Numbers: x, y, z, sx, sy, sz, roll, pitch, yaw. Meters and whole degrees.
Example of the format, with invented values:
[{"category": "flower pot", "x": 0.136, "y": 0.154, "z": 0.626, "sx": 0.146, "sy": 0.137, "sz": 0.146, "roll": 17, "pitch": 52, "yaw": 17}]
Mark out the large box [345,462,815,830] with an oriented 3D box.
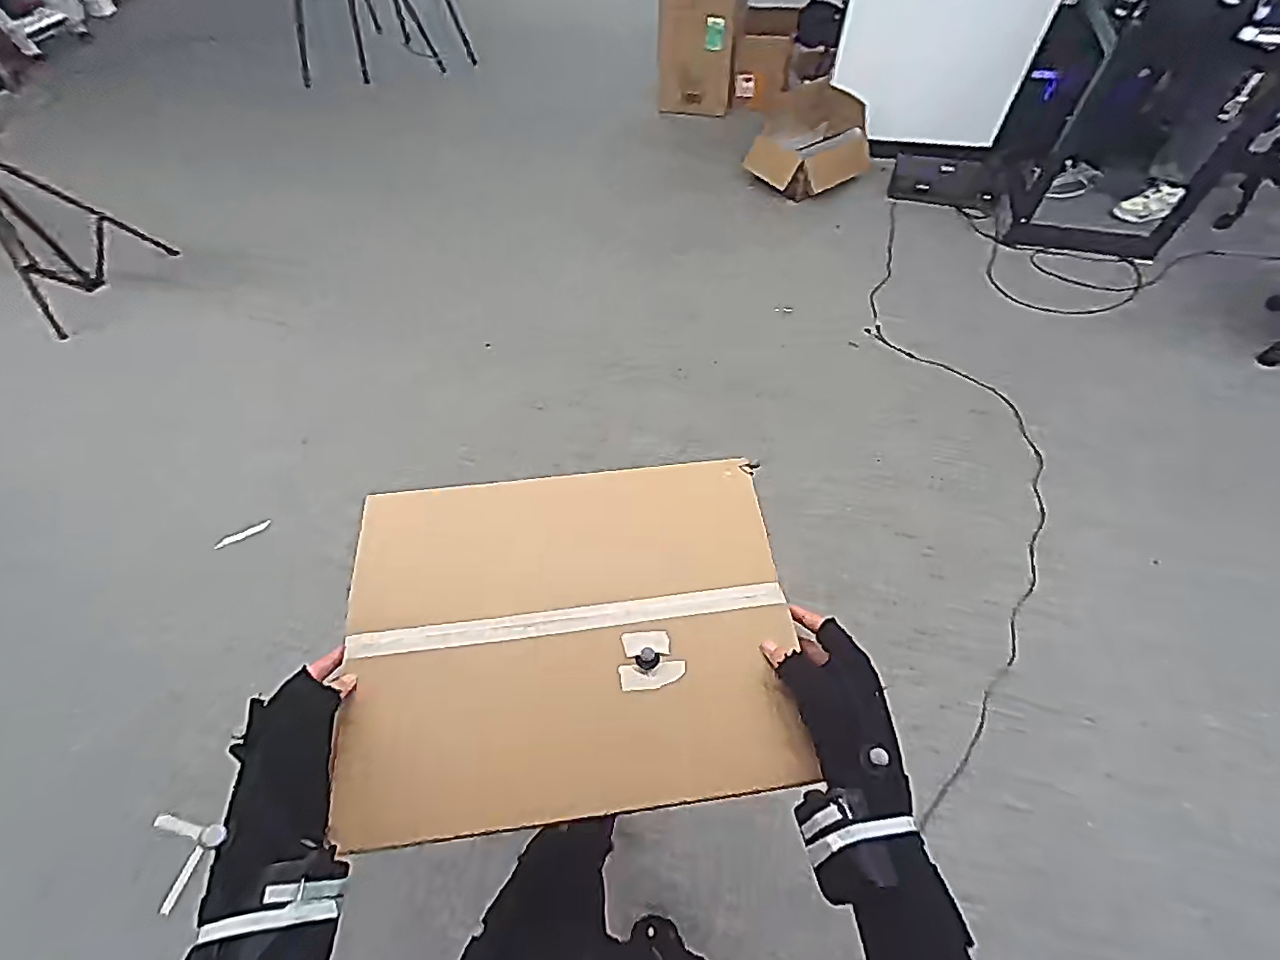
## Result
[{"category": "large box", "x": -0.065, "y": 0.205, "z": 0.651, "sx": 0.408, "sy": 0.320, "sz": 0.320, "roll": -5, "pitch": 60, "yaw": -4}]
